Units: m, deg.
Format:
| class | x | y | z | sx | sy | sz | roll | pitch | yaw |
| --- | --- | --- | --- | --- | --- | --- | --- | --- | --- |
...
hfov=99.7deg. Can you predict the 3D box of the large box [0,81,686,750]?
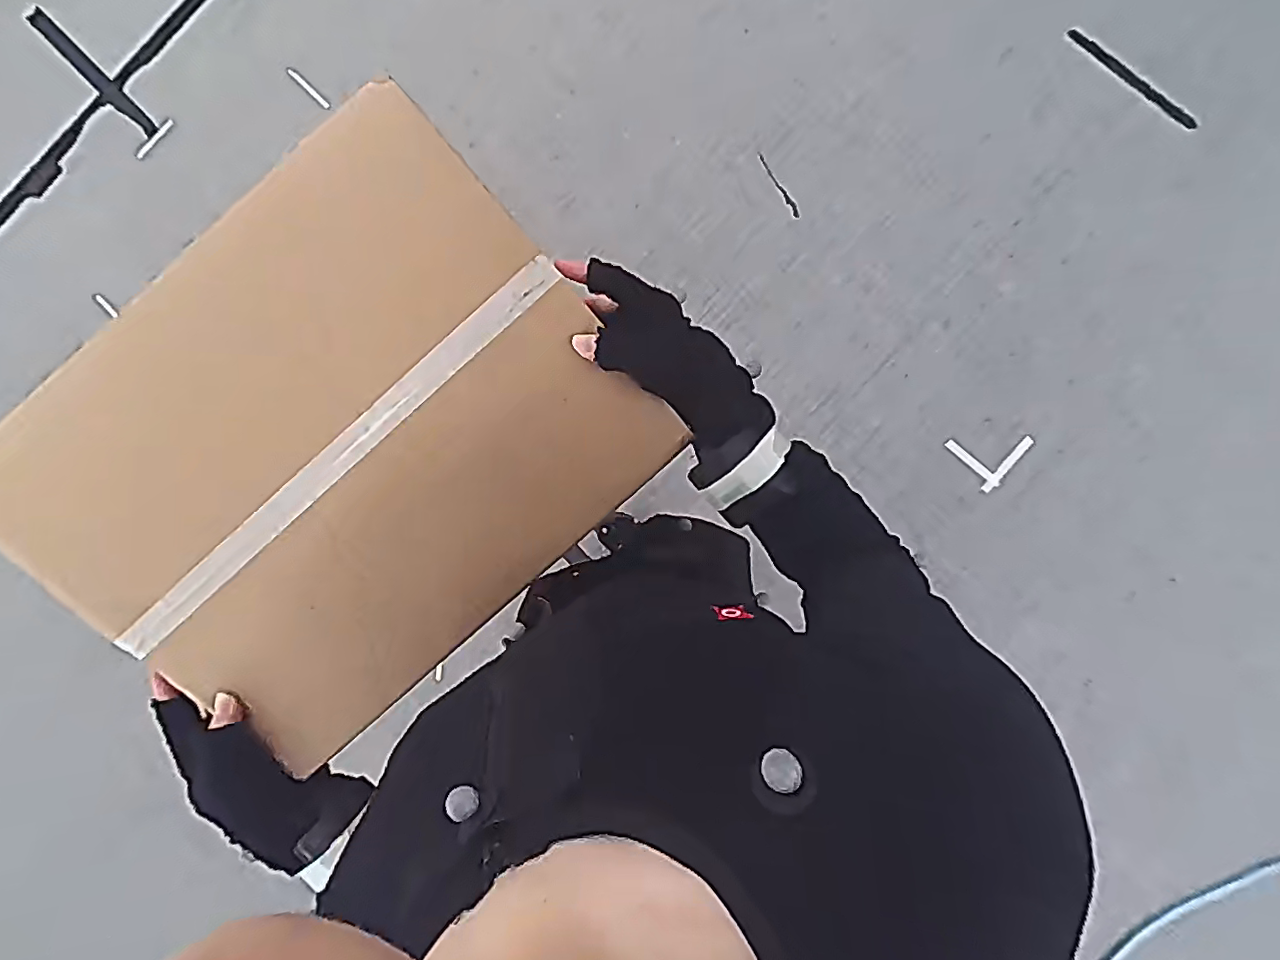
| class | x | y | z | sx | sy | sz | roll | pitch | yaw |
| --- | --- | --- | --- | --- | --- | --- | --- | --- | --- |
| large box | -0.222 | -0.048 | 0.538 | 0.408 | 0.320 | 0.320 | -41 | 102 | 2 |
